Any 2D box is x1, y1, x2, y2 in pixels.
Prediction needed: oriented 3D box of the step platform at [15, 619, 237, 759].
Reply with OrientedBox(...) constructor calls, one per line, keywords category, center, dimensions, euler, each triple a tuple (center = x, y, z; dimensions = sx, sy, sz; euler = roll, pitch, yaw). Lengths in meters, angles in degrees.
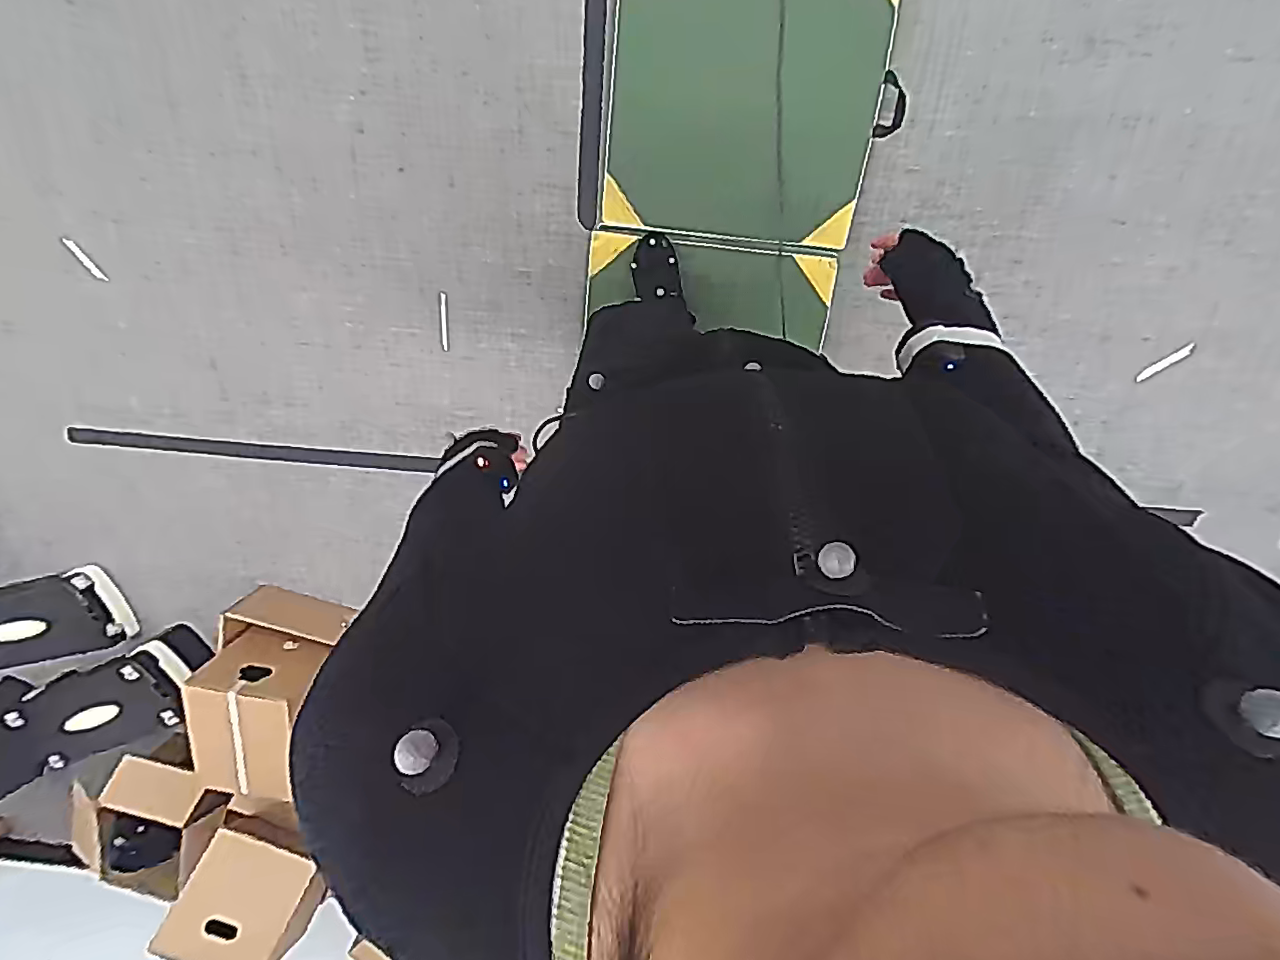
OrientedBox(category="step platform", center=(-1.824, 0.748, 1.922), dimensions=(0.684, 0.204, 0.286), euler=(-22, 107, 11))
